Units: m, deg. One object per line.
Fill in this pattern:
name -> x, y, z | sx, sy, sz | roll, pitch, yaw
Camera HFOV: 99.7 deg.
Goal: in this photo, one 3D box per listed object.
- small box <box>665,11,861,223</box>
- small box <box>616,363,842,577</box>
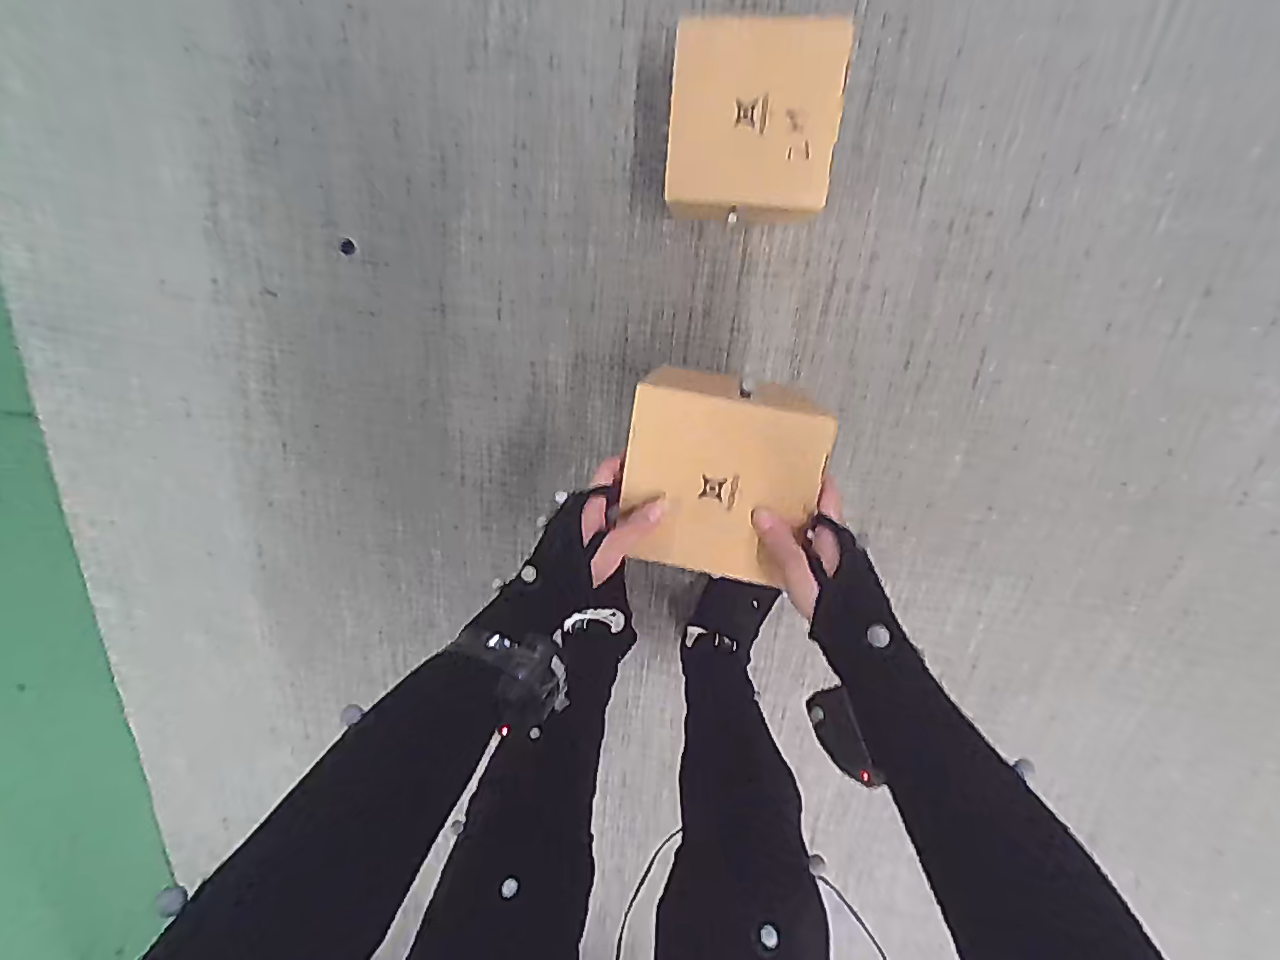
small box -> 0.131, -0.401, 0.626 | 0.179, 0.176, 0.168 | 7, 110, 6
small box -> 0.085, -0.024, 0.563 | 0.179, 0.176, 0.168 | 11, 109, 5
